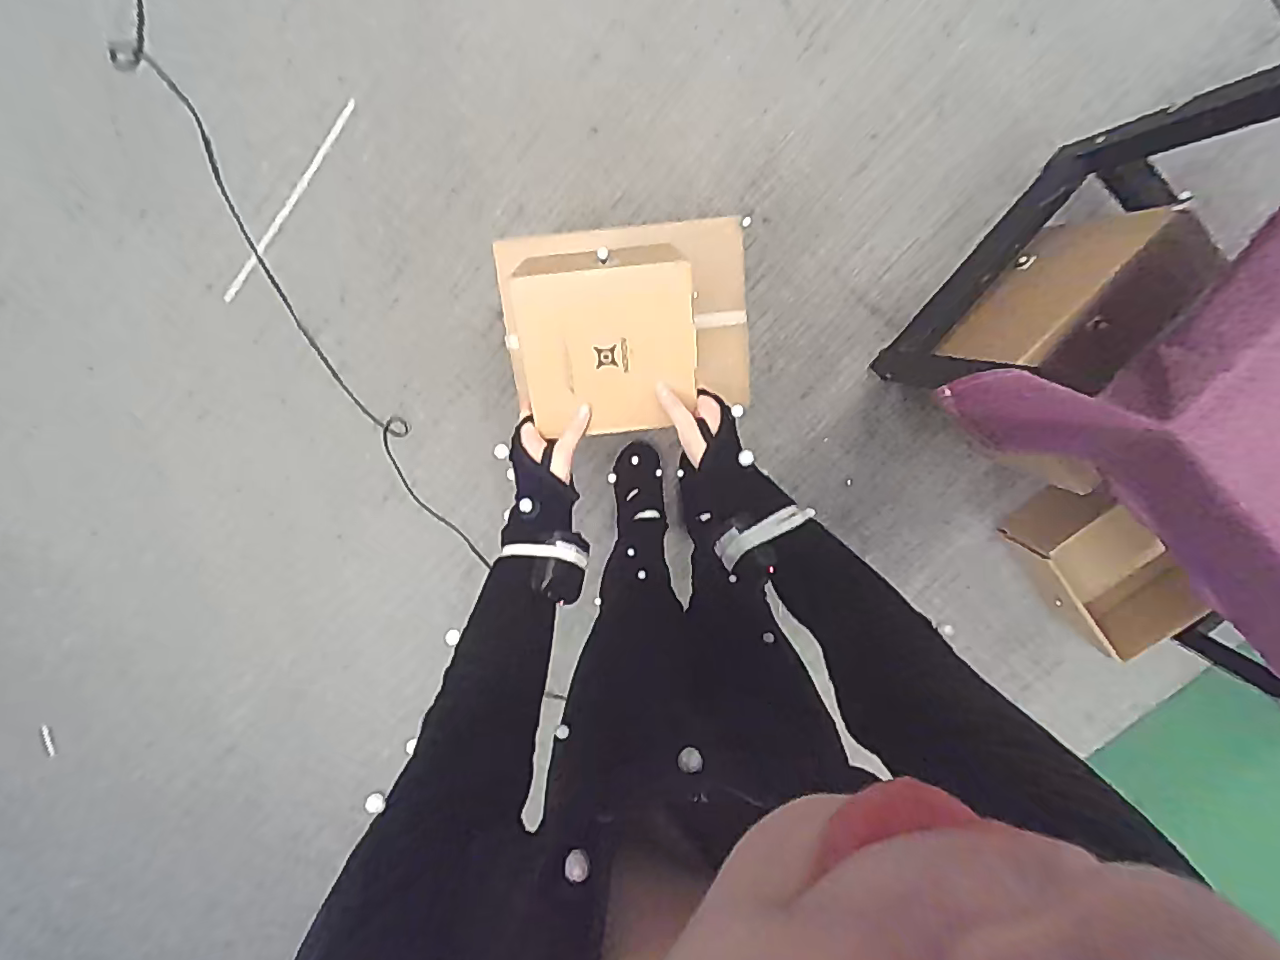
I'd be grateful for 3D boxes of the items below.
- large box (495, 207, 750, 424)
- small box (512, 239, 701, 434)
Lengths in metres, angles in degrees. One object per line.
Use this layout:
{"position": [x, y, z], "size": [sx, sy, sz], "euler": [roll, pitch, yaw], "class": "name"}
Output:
{"position": [-0.029, -0.310, 1.046], "size": [0.408, 0.320, 0.320], "euler": [-7, 108, -1], "class": "large box"}
{"position": [-0.033, -0.166, 0.599], "size": [0.179, 0.176, 0.168], "euler": [-5, 120, -1], "class": "small box"}
